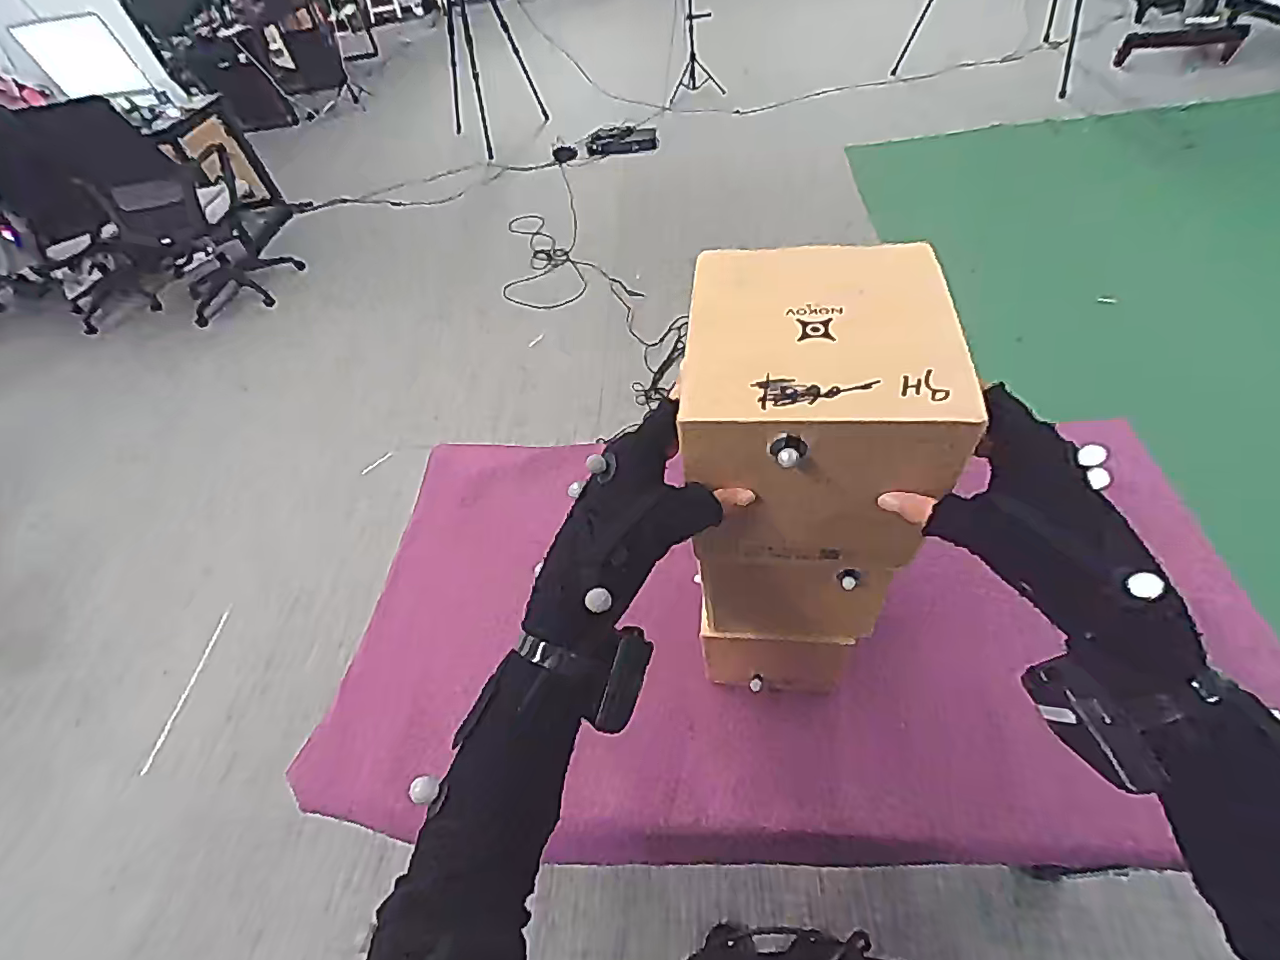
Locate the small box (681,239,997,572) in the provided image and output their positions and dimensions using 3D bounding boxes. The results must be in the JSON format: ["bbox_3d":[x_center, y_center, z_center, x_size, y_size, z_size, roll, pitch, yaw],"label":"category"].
[{"bbox_3d":[0.125,-0.052,0.402,0.168,0.176,0.179,1,53,11],"label":"small box"}]

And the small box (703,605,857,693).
[{"bbox_3d":[0.172,0.154,0.695,0.168,0.176,0.179,0,52,11],"label":"small box"}]

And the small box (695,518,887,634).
[{"bbox_3d":[0.155,0.051,0.571,0.179,0.176,0.168,-1,51,10],"label":"small box"}]
